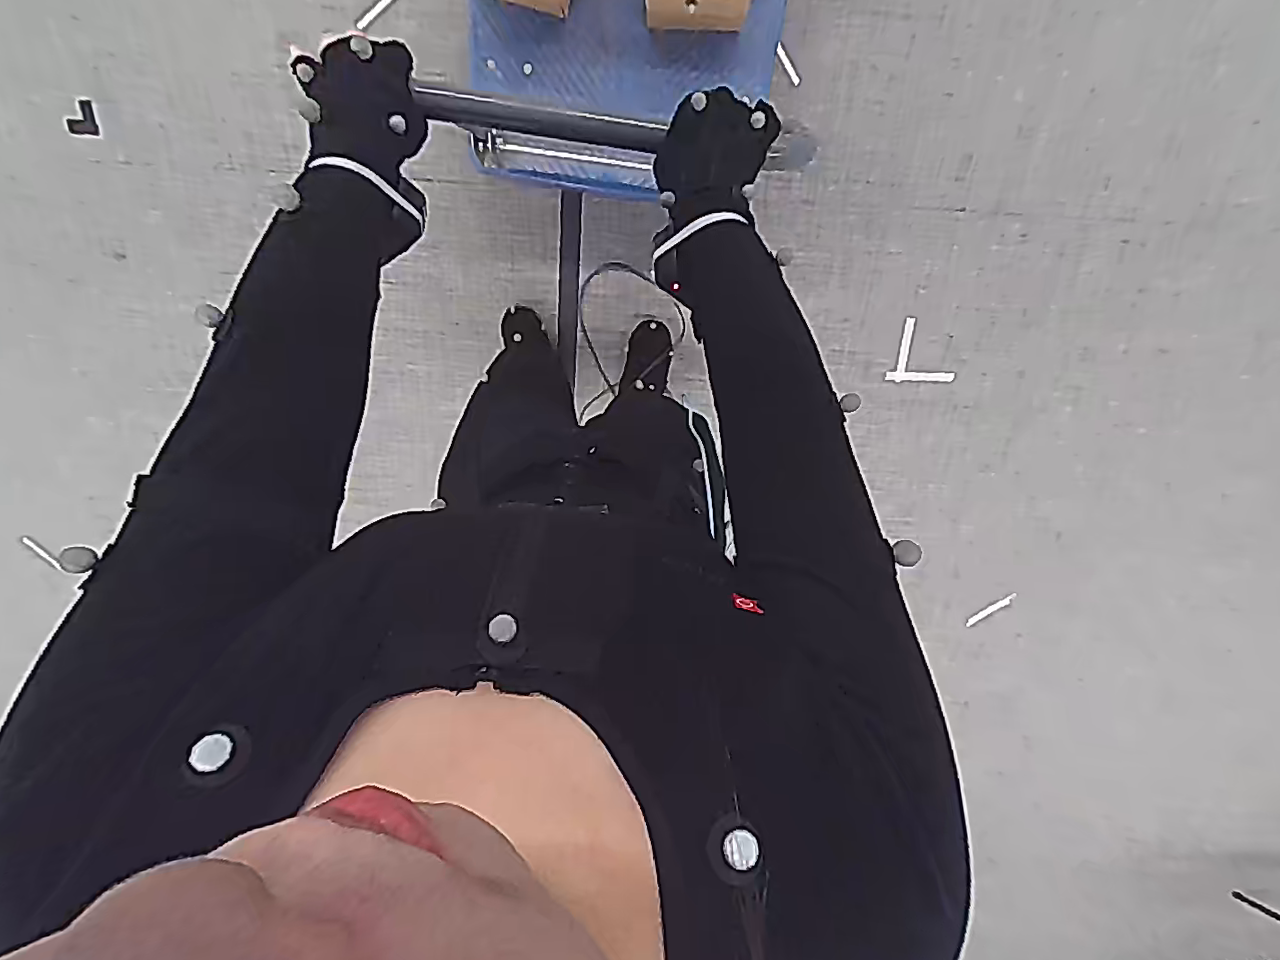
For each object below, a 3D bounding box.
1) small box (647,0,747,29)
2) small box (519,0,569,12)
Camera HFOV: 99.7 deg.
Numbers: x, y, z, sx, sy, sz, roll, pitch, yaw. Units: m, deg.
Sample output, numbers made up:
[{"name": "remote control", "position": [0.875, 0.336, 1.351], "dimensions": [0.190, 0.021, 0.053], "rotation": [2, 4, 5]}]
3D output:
[{"name": "small box", "position": [0.100, -0.880, 0.896], "dimensions": [0.179, 0.176, 0.168], "rotation": [3, 113, 1]}, {"name": "small box", "position": [-0.201, -0.920, 0.888], "dimensions": [0.179, 0.176, 0.168], "rotation": [13, 112, -5]}]
